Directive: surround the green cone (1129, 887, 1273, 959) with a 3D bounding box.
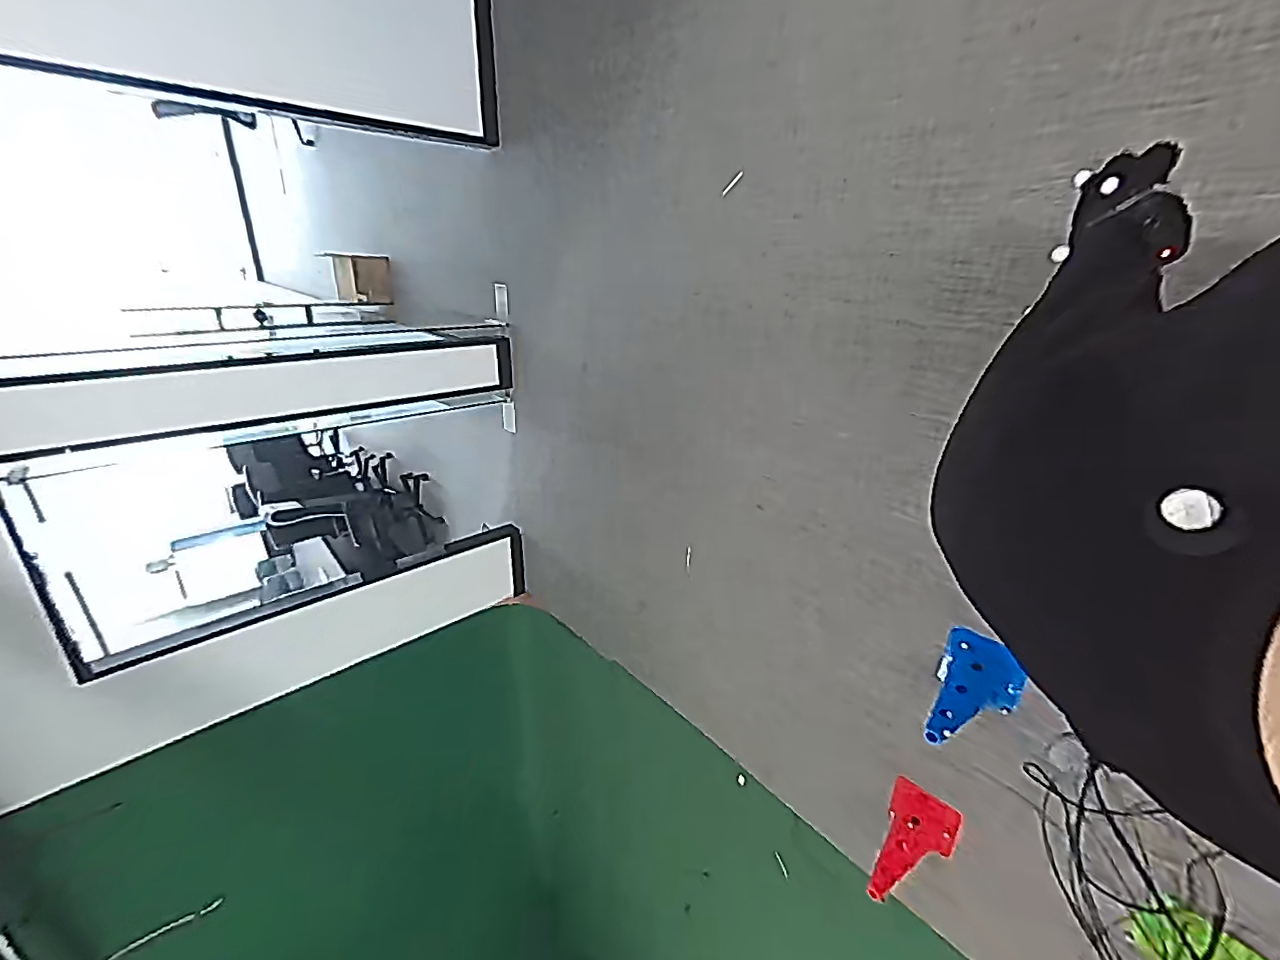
[{"bbox_3d":[1.204,1.144,1.182,0.200,0.368,0.202,28,123,41],"label":"green cone"}]
